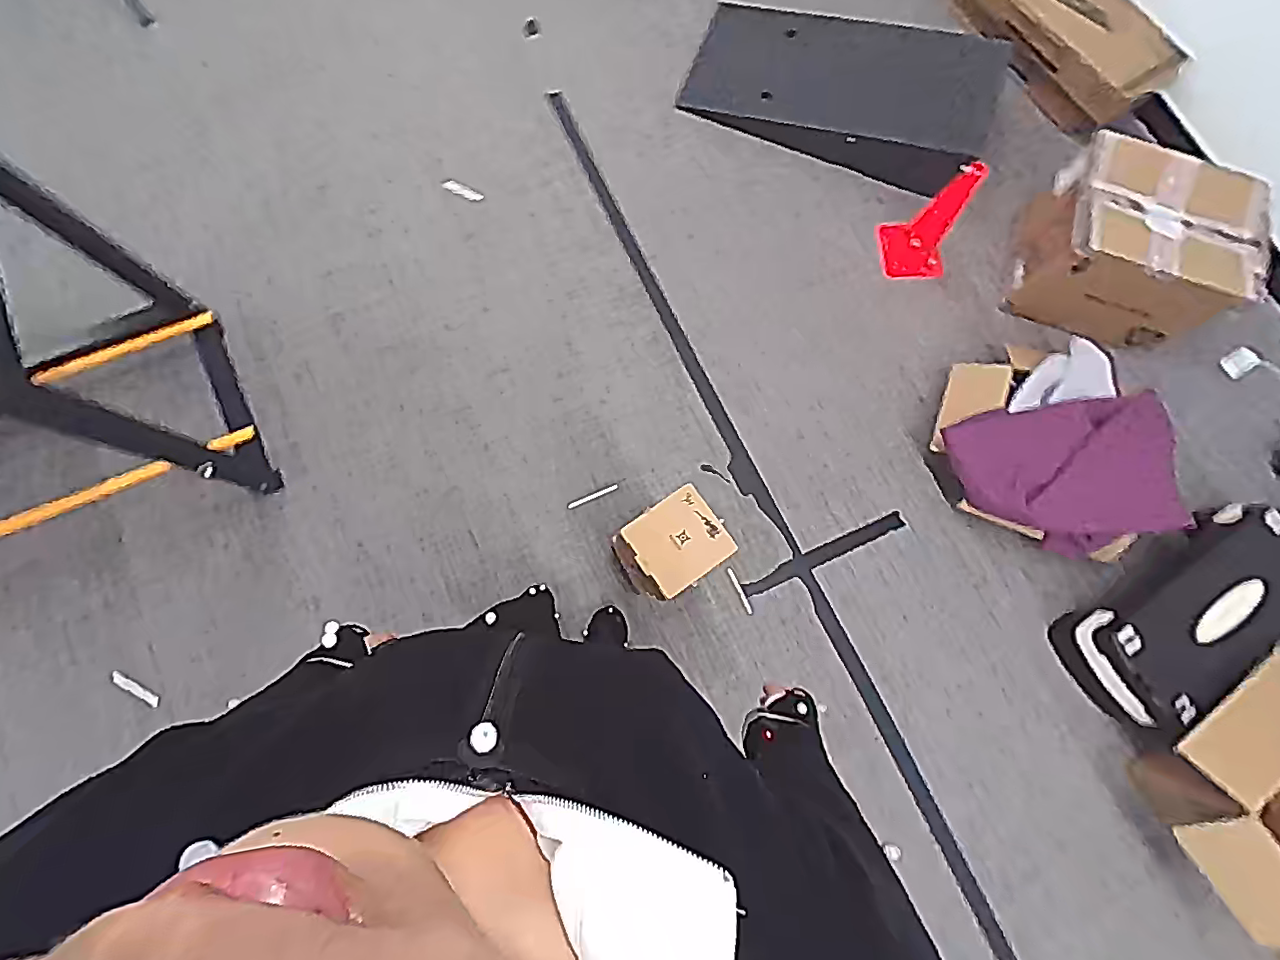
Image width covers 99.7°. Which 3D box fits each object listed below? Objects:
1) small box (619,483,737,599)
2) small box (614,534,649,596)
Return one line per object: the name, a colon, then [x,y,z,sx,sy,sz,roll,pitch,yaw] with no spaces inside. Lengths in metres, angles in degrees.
small box: [0.072,0.134,1.124,0.179,0.176,0.168,-33,80,-9]
small box: [0.040,0.196,1.446,0.179,0.176,0.168,-27,79,-7]
